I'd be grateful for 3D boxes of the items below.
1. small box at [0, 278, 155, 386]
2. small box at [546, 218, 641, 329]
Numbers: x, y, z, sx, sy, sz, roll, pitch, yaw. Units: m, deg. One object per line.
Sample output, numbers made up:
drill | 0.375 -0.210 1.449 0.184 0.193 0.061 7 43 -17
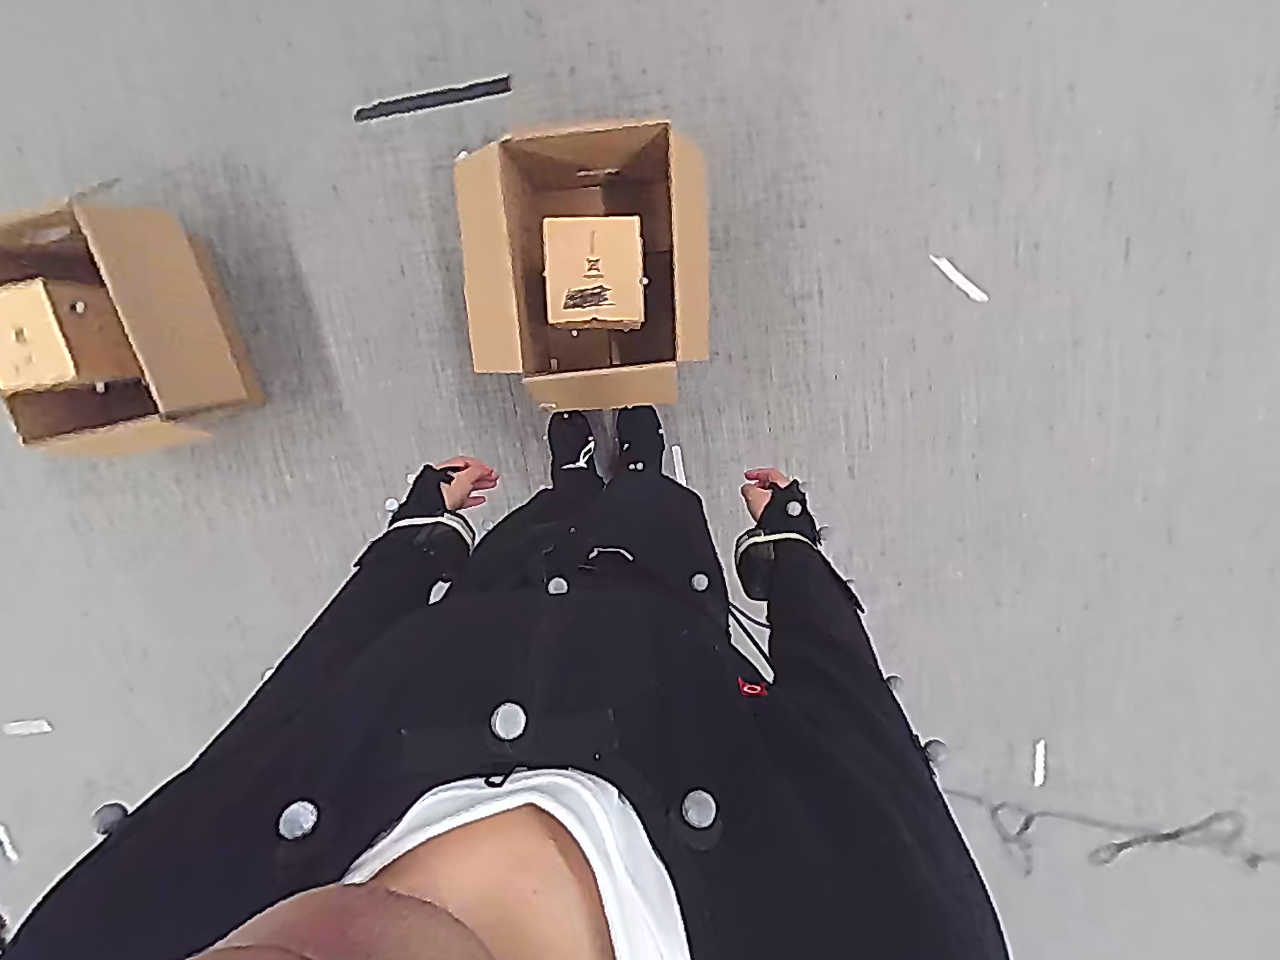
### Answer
small box | -1.141 -0.289 1.080 0.168 0.176 0.179 -9 103 5
small box | -0.081 -0.379 1.020 0.168 0.176 0.179 -1 100 -1
